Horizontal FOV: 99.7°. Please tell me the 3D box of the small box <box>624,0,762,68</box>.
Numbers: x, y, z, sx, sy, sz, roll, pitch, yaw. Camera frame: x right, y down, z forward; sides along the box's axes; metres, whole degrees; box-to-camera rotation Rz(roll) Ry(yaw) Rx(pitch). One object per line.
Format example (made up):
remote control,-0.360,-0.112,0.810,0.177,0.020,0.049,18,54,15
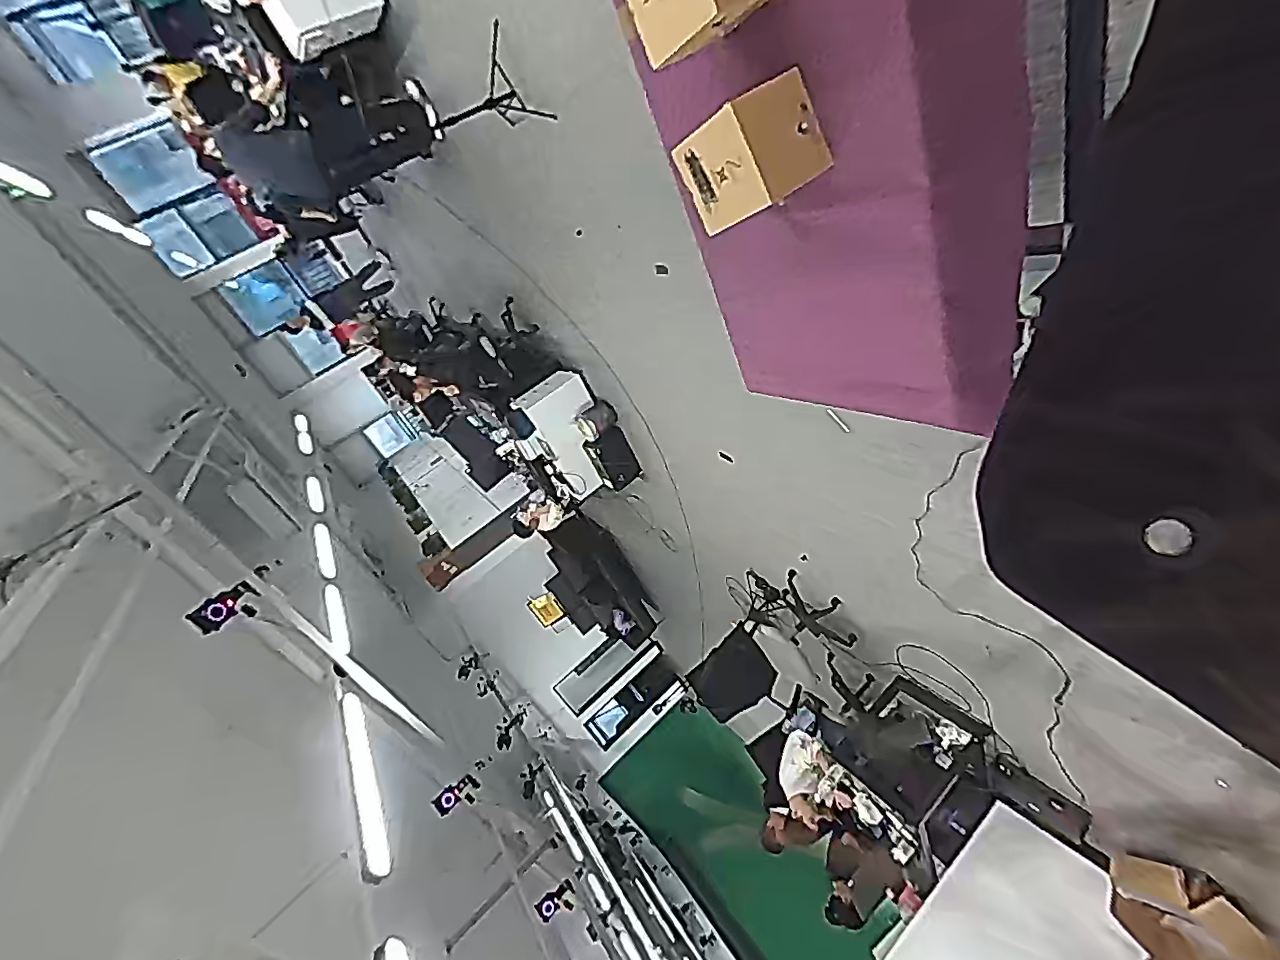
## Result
small box,0.086,-0.787,0.826,0.179,0.176,0.168,21,145,58
